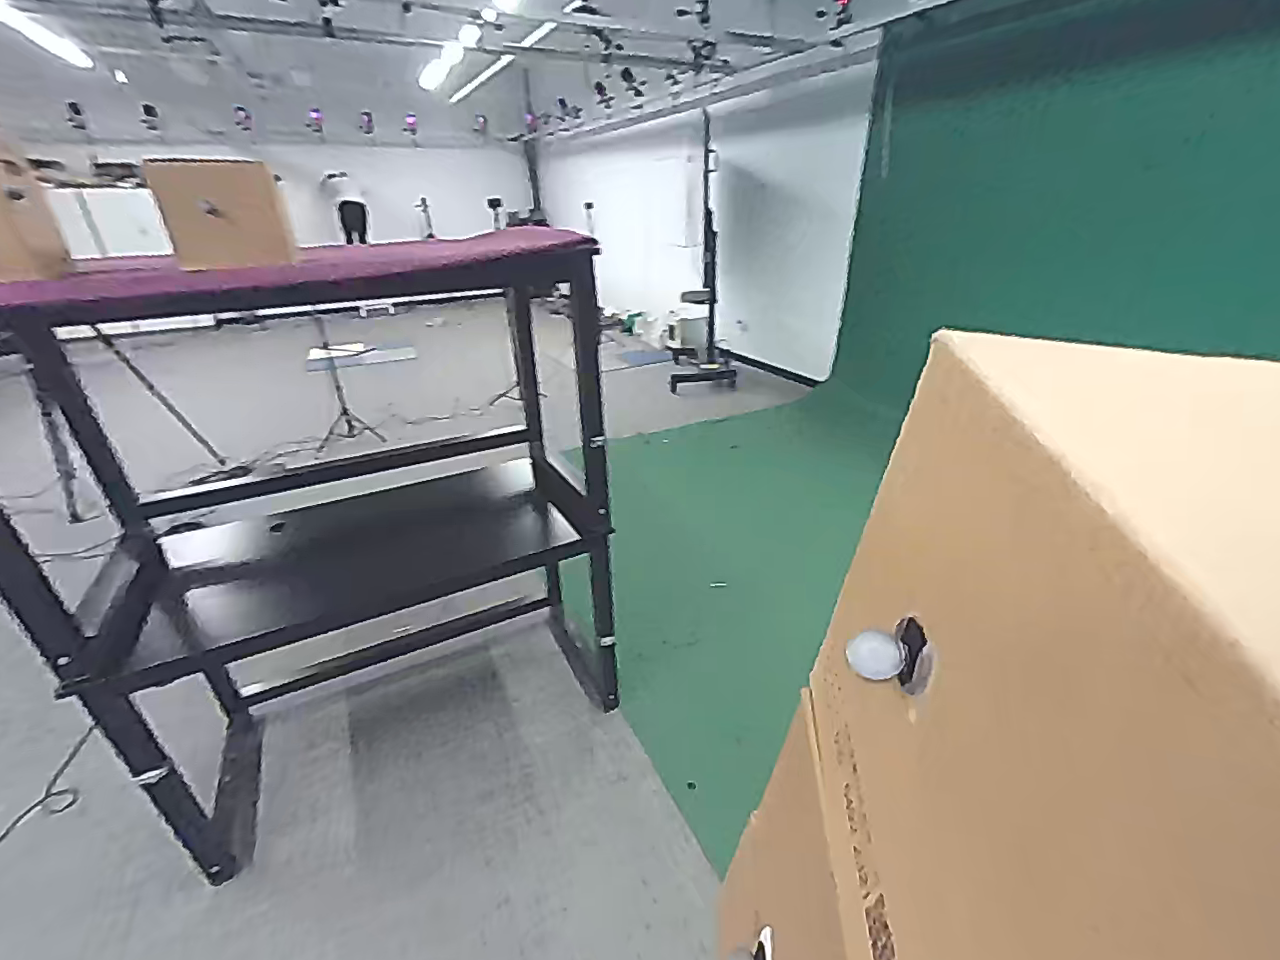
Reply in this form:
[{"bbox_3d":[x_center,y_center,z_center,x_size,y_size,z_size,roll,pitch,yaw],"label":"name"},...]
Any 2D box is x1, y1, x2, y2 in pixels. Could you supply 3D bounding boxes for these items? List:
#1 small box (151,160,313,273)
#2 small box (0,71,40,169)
[{"bbox_3d":[-0.728,-0.479,0.988,0.179,0.176,0.168,-14,30,-21],"label":"small box"},{"bbox_3d":[-1.026,-0.540,0.757,0.179,0.176,0.168,-14,30,-24],"label":"small box"}]
